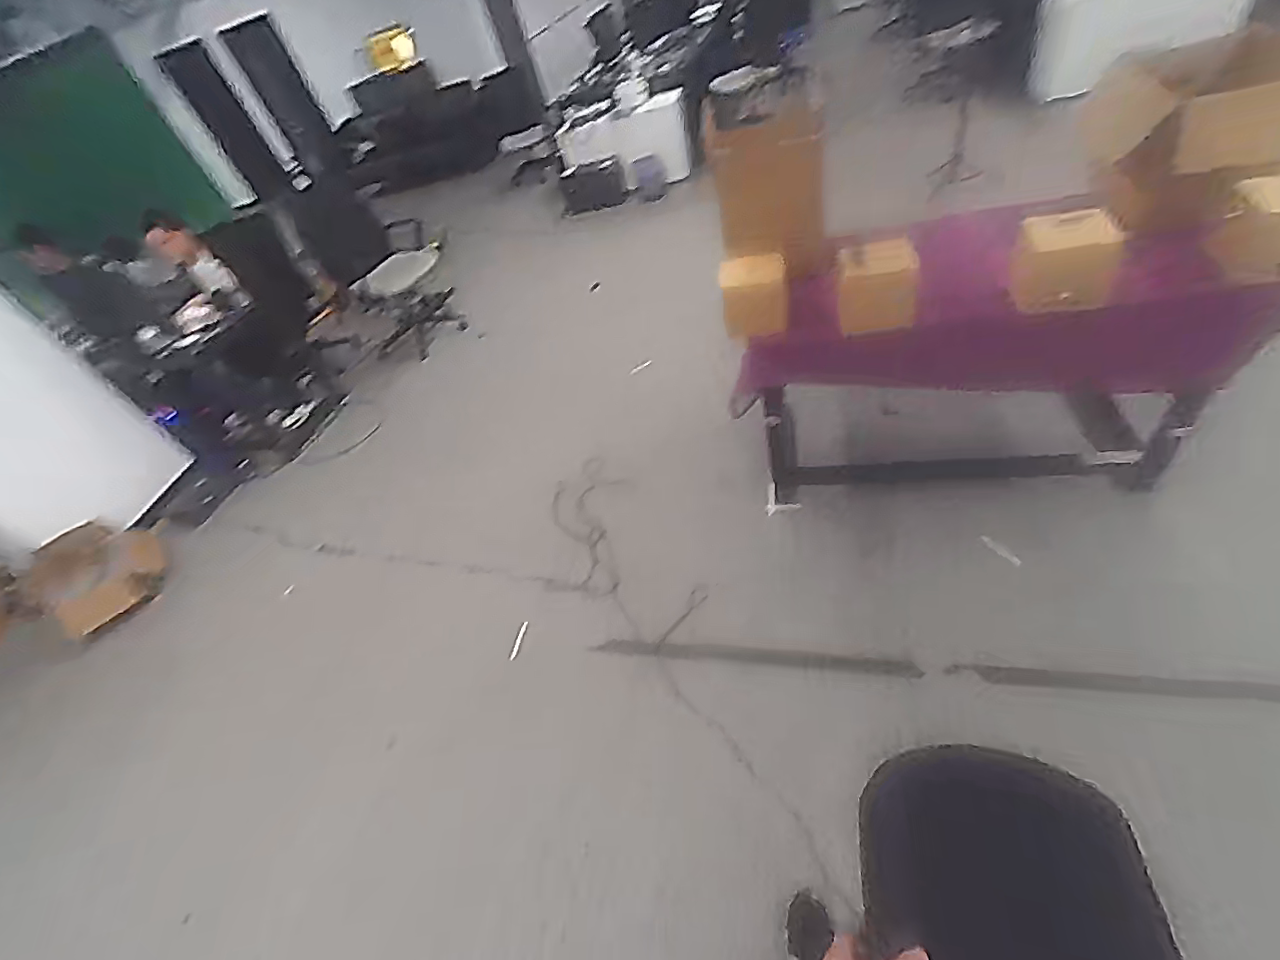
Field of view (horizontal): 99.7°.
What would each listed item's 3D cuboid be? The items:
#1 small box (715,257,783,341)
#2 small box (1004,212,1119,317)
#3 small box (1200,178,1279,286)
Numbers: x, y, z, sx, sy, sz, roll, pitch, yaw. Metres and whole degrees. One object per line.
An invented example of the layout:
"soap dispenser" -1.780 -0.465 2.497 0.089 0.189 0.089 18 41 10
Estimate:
"small box" 0.320 -0.520 1.568 0.179 0.176 0.168 -3 46 16
"small box" 1.013 -0.522 1.319 0.168 0.176 0.179 -1 47 20
"small box" 1.411 -0.554 1.203 0.168 0.176 0.179 1 47 22
